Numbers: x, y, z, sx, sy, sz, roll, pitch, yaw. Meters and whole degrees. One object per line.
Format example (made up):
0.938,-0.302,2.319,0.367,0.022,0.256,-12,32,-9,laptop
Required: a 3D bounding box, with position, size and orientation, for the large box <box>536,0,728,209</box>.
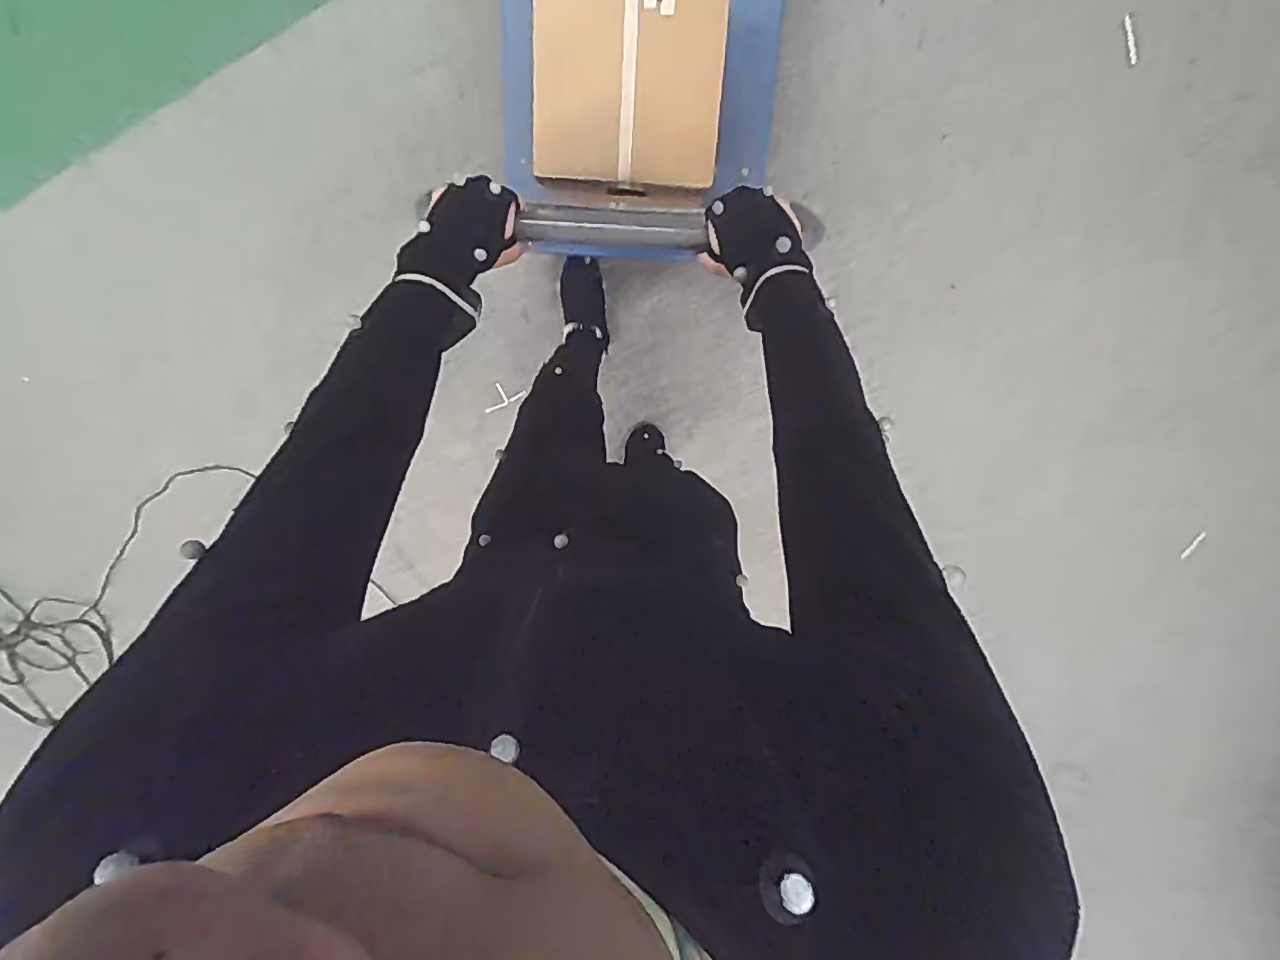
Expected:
-0.013,-0.765,1.030,0.320,0.320,0.408,4,108,-1,large box
